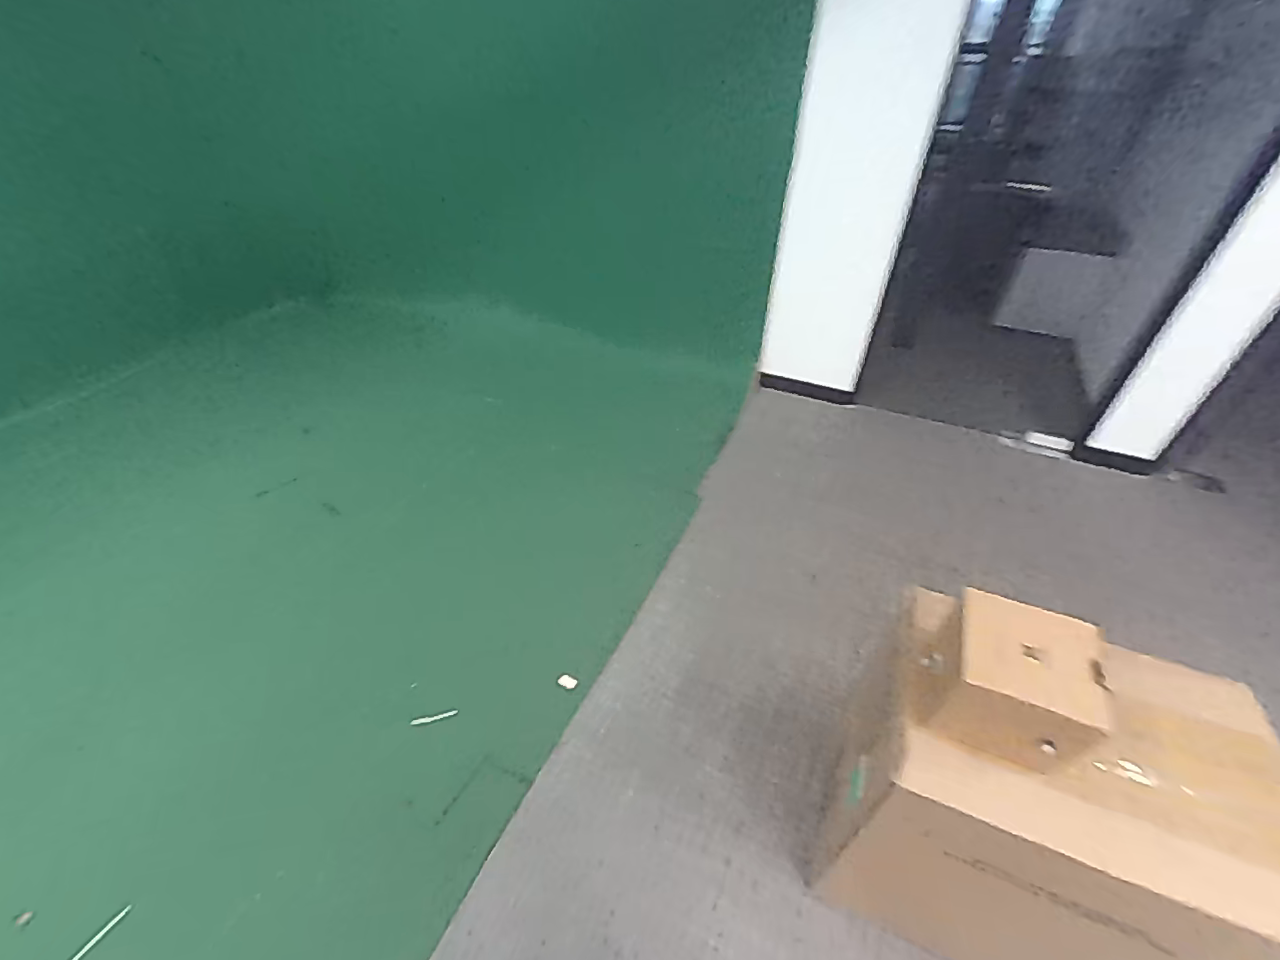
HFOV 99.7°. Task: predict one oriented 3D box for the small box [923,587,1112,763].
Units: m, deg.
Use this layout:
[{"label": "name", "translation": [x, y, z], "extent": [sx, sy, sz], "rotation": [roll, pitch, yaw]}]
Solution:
[{"label": "small box", "translation": [0.550, 0.294, 0.810], "extent": [0.179, 0.176, 0.168], "rotation": [15, 48, 19]}]
